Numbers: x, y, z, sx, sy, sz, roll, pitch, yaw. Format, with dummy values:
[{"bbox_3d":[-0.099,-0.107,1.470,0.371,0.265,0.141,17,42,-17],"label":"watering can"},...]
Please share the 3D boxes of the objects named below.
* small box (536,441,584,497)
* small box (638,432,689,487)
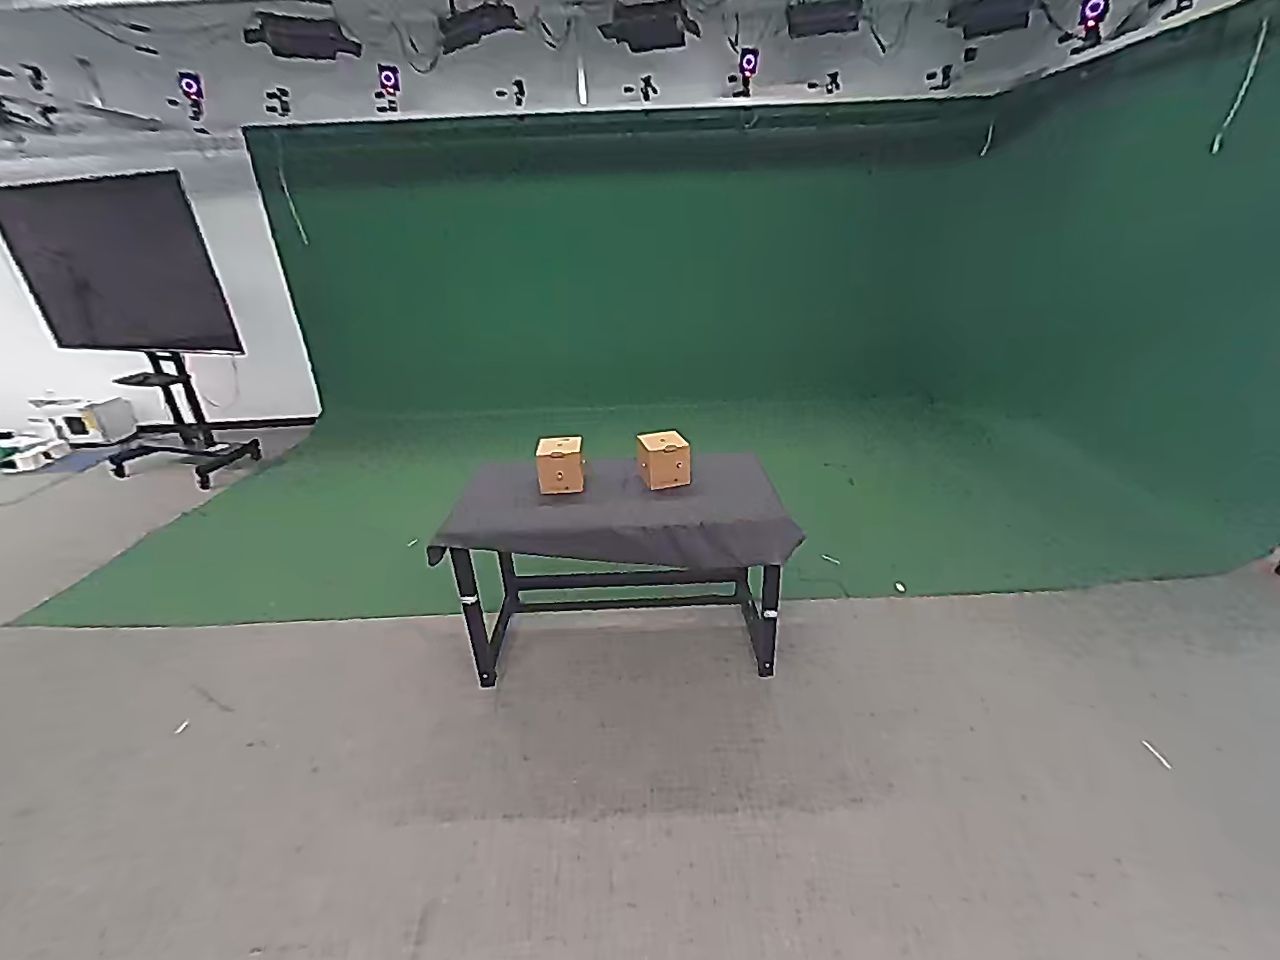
[{"bbox_3d":[-0.311,-0.039,2.143,0.168,0.176,0.179,-6,24,-4],"label":"small box"},{"bbox_3d":[0.092,-0.079,2.144,0.168,0.176,0.179,-6,25,-13],"label":"small box"}]
